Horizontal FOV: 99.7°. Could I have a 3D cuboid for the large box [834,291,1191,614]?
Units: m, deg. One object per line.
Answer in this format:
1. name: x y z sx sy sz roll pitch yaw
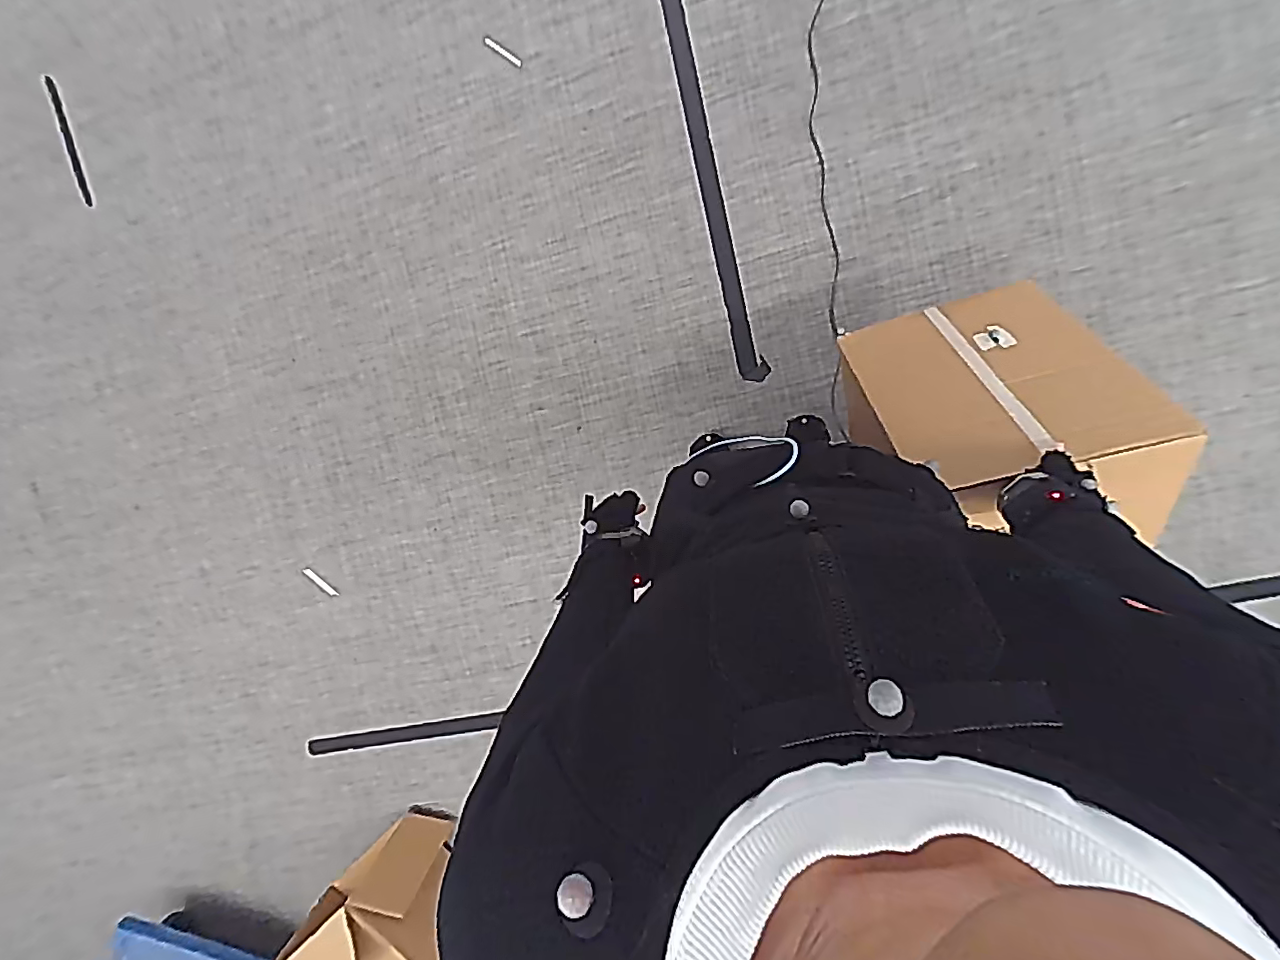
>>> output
1. large box: 0.554 -0.049 0.908 0.320 0.408 0.320 -14 132 11
